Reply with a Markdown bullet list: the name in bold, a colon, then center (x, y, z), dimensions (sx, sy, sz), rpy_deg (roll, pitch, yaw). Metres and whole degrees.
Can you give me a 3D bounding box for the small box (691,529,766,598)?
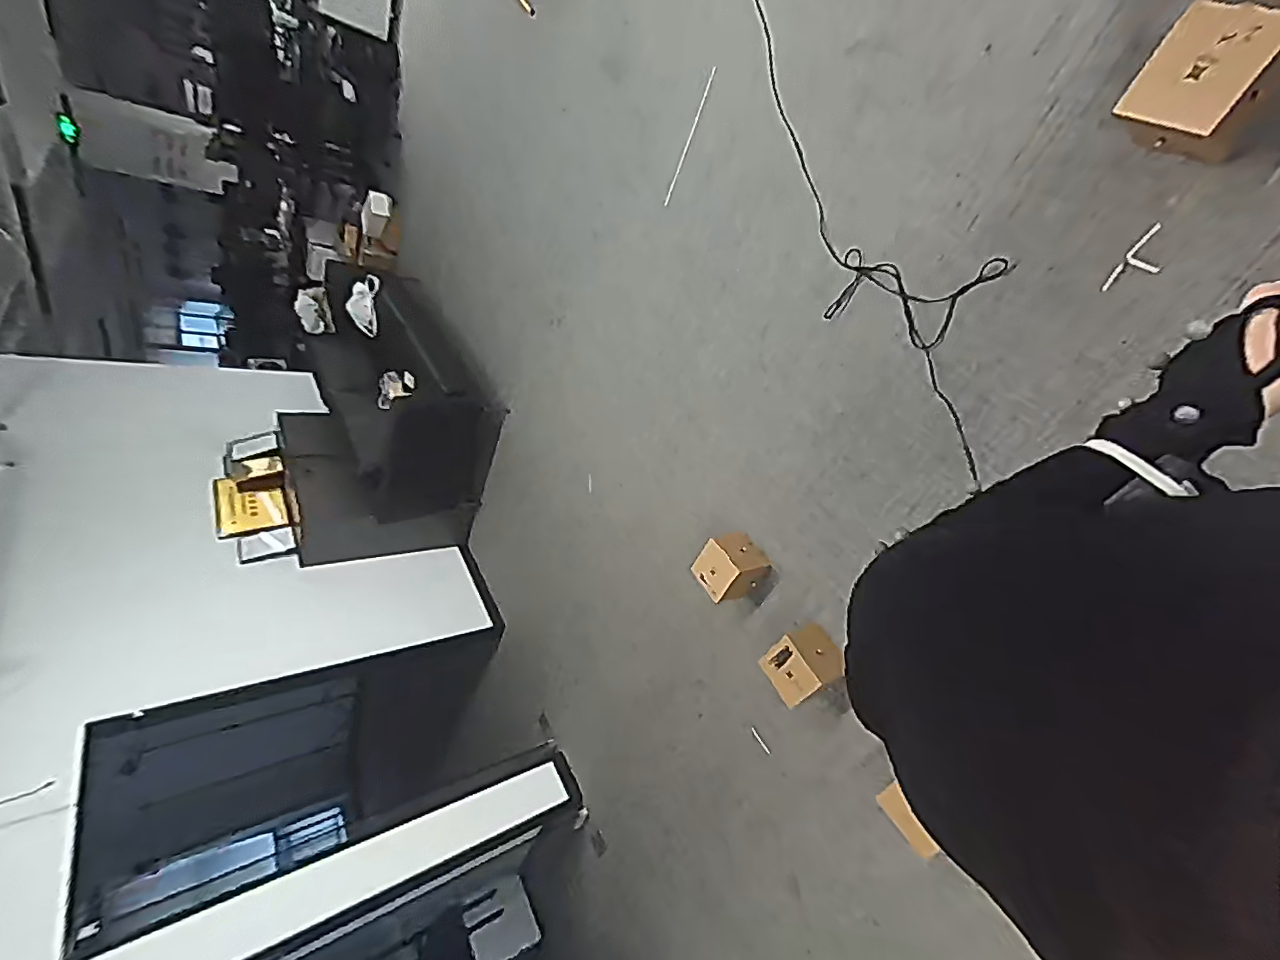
- **small box**: center (0.323, 0.292, 1.938), dimensions (0.168, 0.176, 0.179), rpy_deg (54, 132, 34)
